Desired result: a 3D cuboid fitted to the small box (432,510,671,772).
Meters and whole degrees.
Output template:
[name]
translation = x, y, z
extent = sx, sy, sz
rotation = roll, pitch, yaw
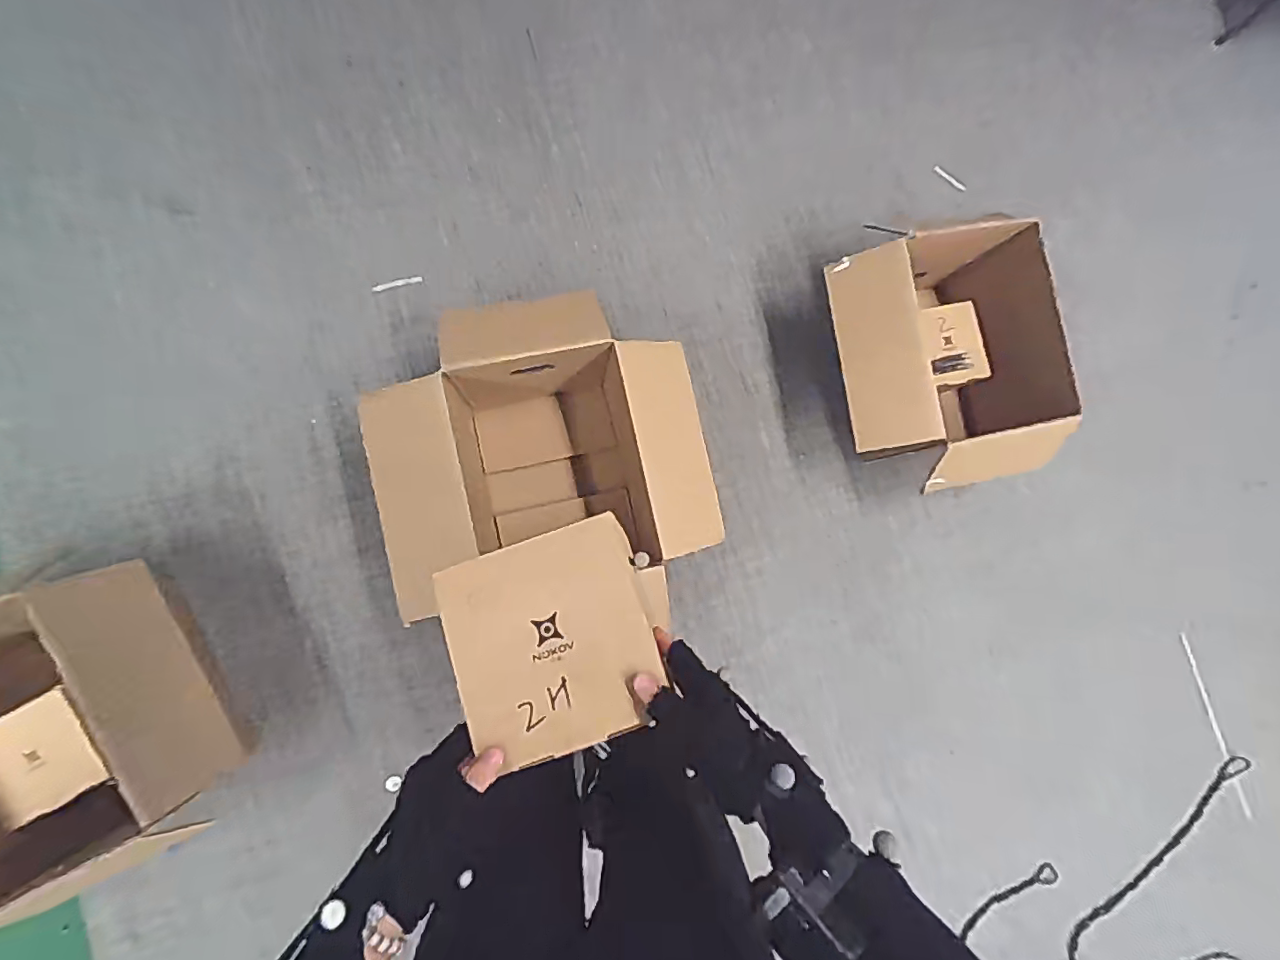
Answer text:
[small box]
translation = -0.074, 0.149, 0.528
extent = 0.168, 0.176, 0.179
rotation = -19, 76, 0
